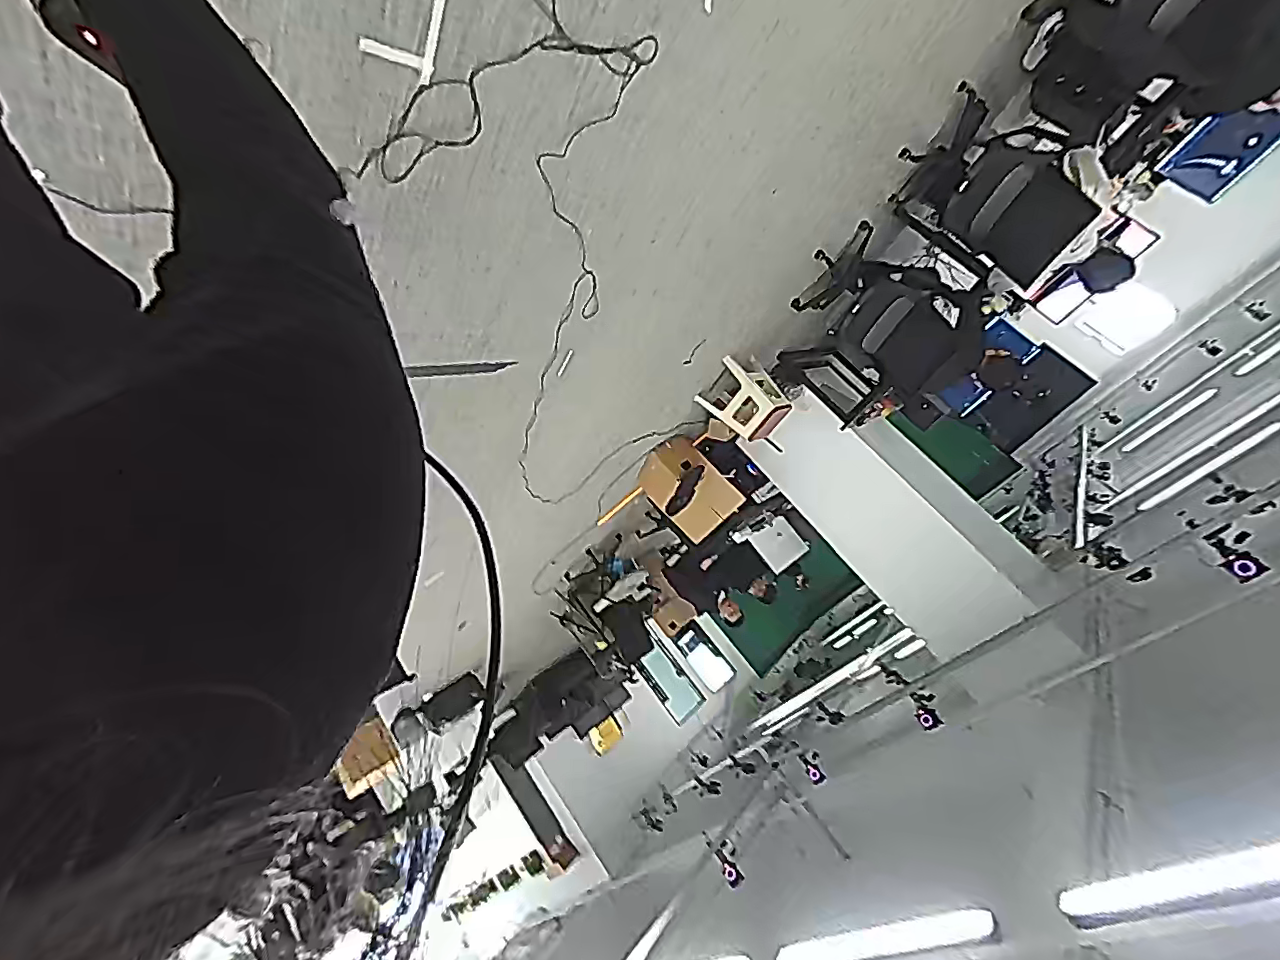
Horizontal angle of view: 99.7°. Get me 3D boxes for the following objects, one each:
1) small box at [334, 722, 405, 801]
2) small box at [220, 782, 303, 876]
[{"bbox_3d":[-0.964,0.993,1.919,0.168,0.176,0.179,-21,154,-44],"label":"small box"},{"bbox_3d":[-1.180,1.080,1.682,0.168,0.176,0.179,-21,153,-47],"label":"small box"}]
